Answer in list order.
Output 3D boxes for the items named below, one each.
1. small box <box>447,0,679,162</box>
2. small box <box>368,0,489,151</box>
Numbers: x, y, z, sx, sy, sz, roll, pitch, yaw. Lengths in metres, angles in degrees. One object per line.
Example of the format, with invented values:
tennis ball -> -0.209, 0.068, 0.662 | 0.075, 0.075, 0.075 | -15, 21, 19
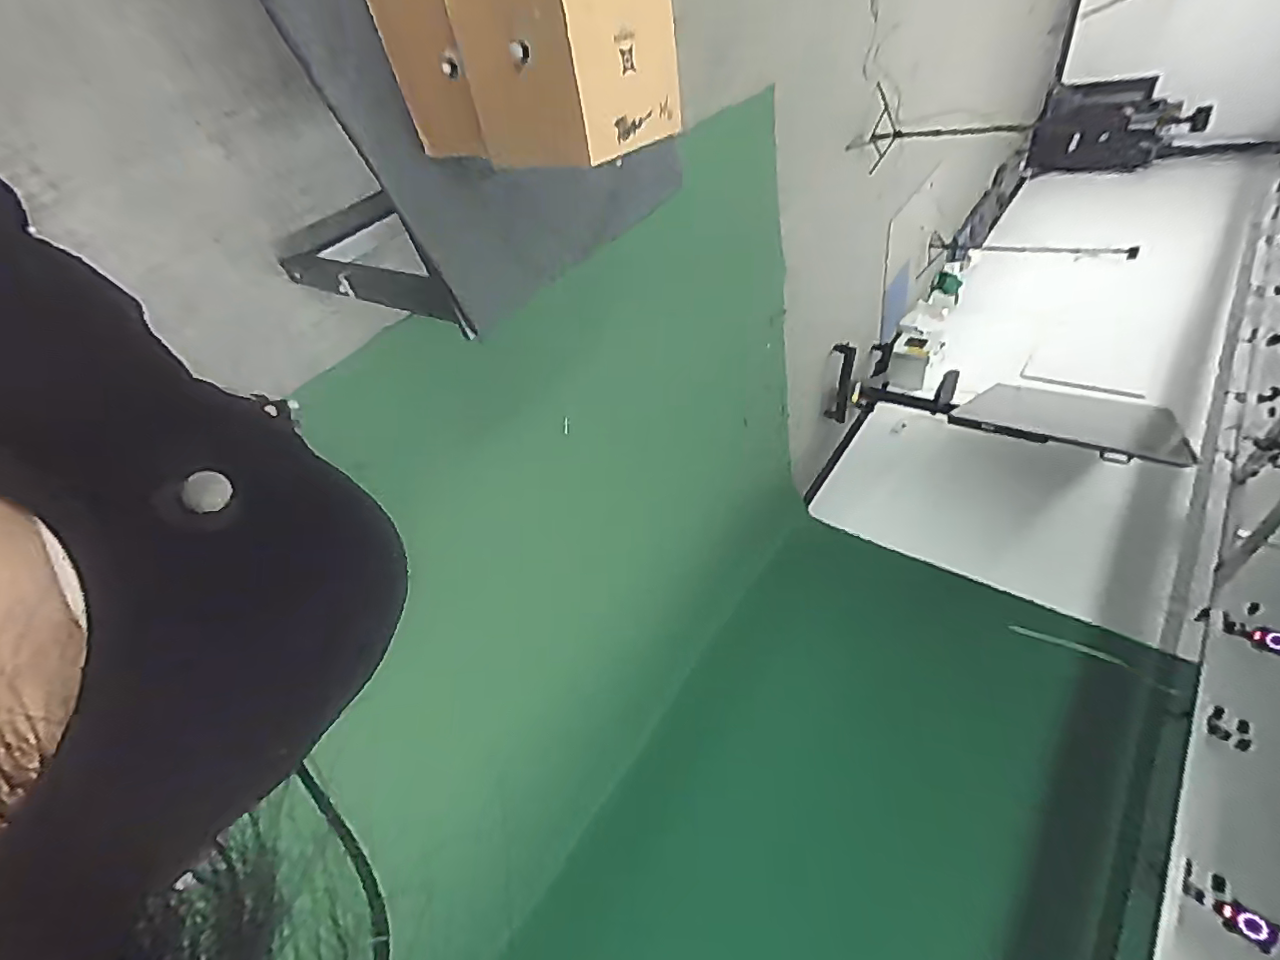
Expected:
small box -> -0.080, -0.463, 0.585 | 0.168, 0.176, 0.179 | -43, 138, -33
small box -> -0.200, -0.532, 0.675 | 0.168, 0.176, 0.179 | -45, 141, -30
